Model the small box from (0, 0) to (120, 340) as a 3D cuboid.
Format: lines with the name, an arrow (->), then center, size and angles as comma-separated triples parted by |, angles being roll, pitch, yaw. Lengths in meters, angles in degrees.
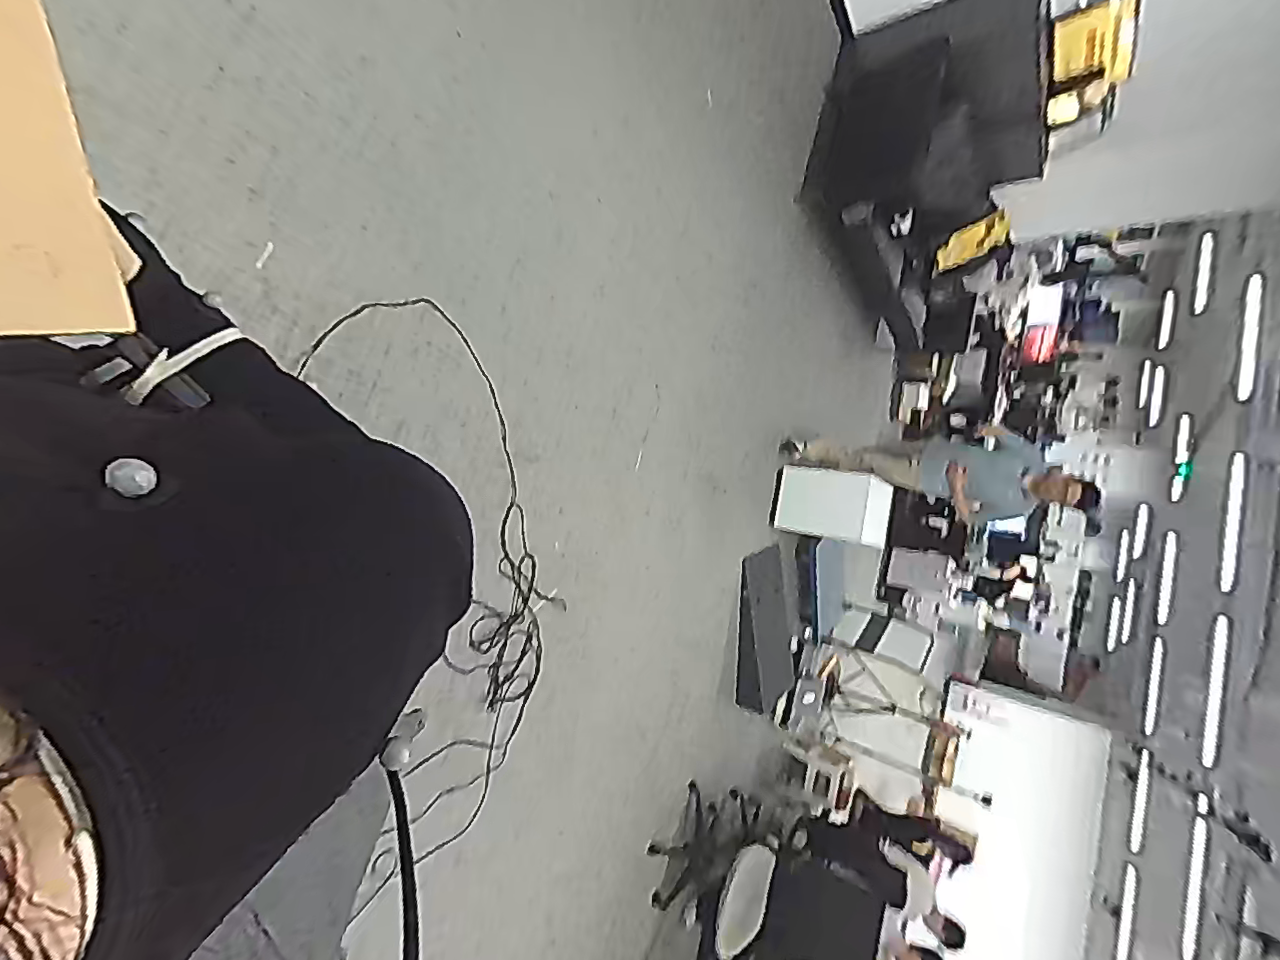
small box -> -0.406, -0.155, 0.252 | 0.168, 0.176, 0.179 | -30, 121, -61
